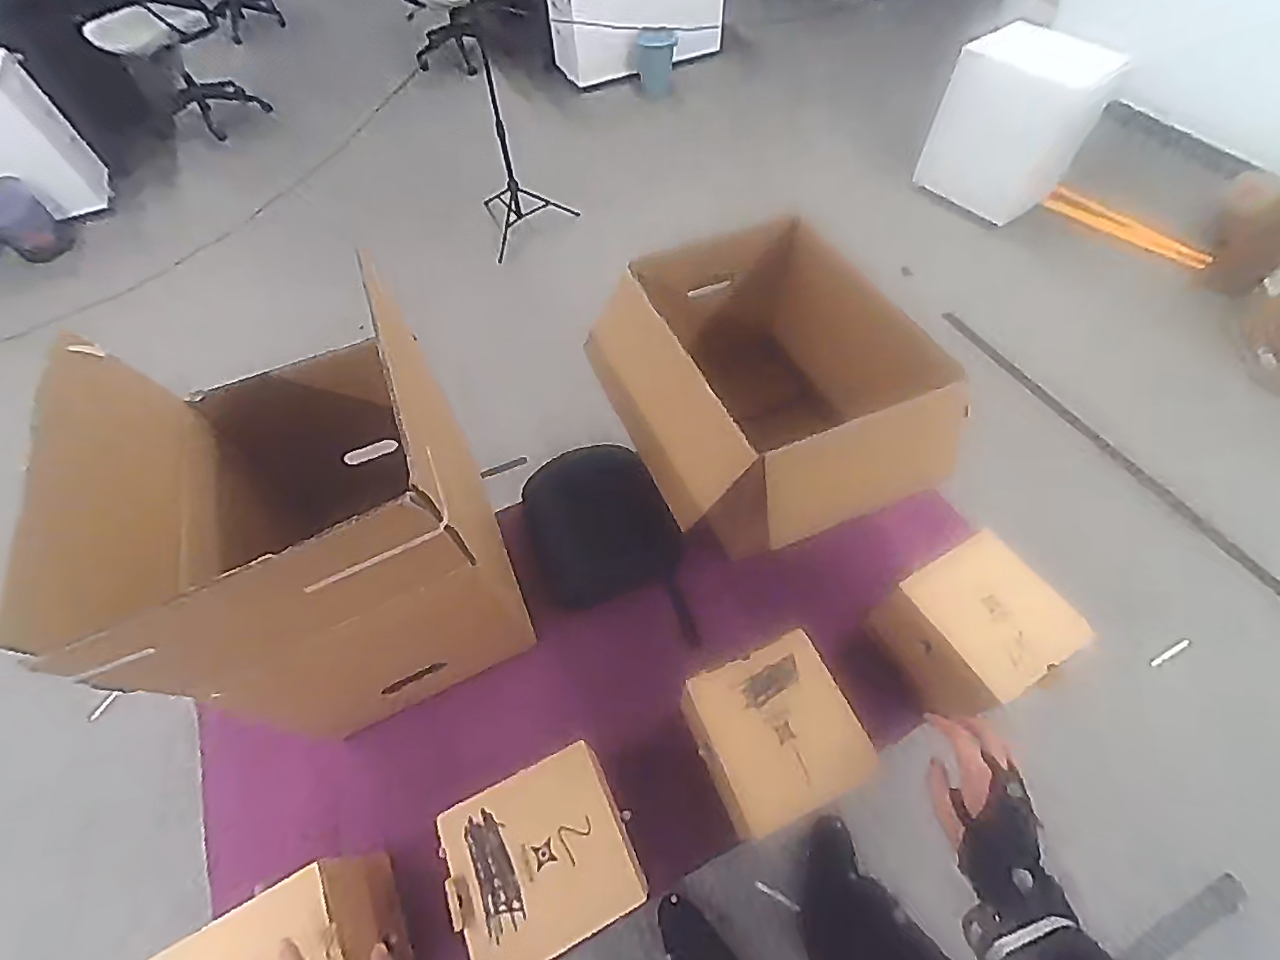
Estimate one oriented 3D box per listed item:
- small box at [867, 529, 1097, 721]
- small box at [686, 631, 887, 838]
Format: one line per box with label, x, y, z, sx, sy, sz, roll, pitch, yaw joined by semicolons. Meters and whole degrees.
small box;0.449;0.205;0.747;0.168;0.176;0.179;-27;60;-13
small box;0.166;0.324;0.686;0.168;0.176;0.179;-21;60;-10
